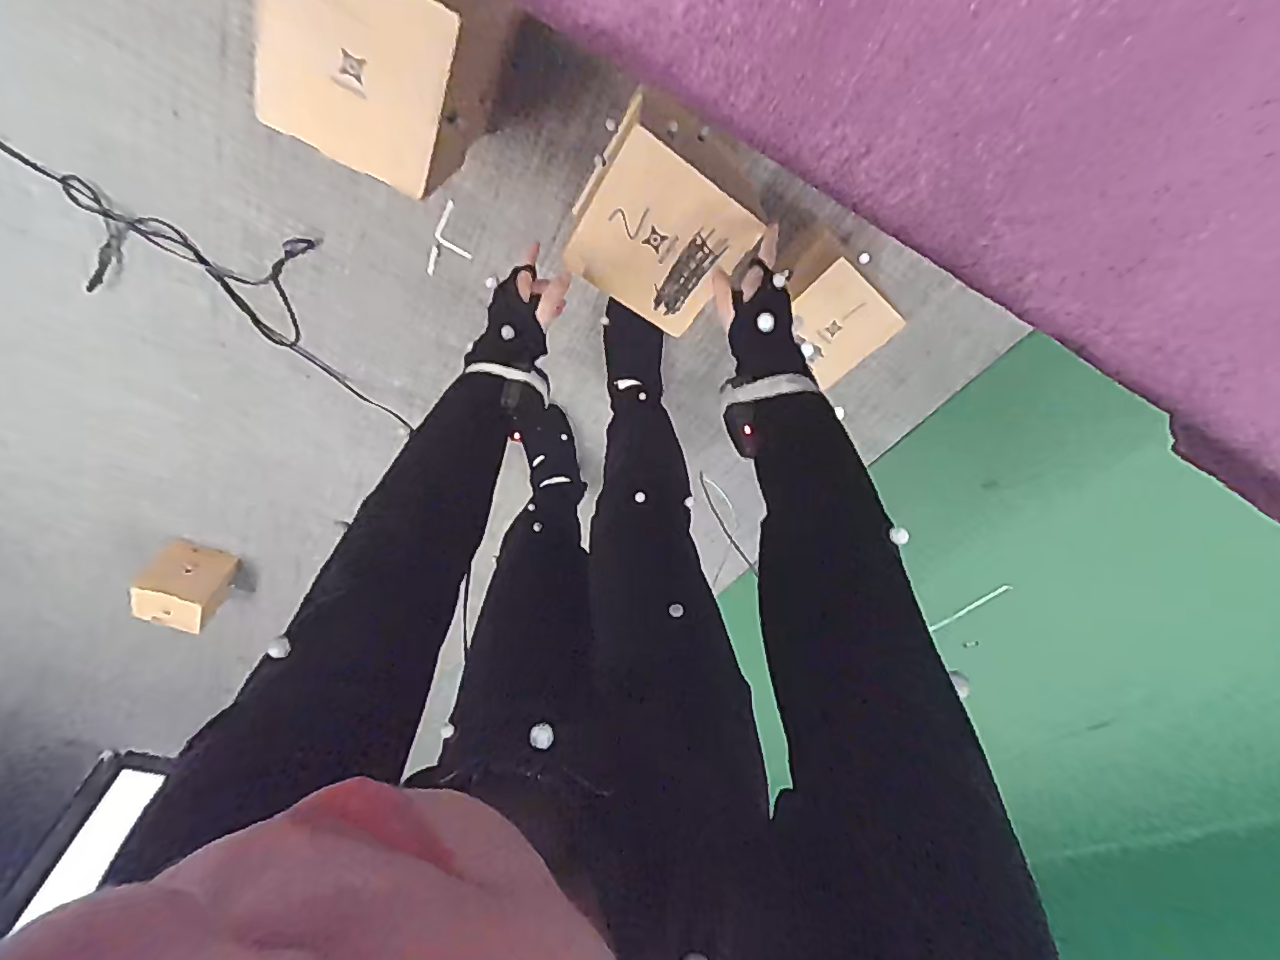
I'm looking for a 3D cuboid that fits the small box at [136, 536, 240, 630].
[{"bbox_3d":[-1.271,0.288,1.528,0.168,0.176,0.179,27,128,-20],"label":"small box"}]

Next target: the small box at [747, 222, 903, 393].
[{"bbox_3d":[0.294,-0.288,0.902,0.168,0.176,0.179,32,126,-24],"label":"small box"}]
